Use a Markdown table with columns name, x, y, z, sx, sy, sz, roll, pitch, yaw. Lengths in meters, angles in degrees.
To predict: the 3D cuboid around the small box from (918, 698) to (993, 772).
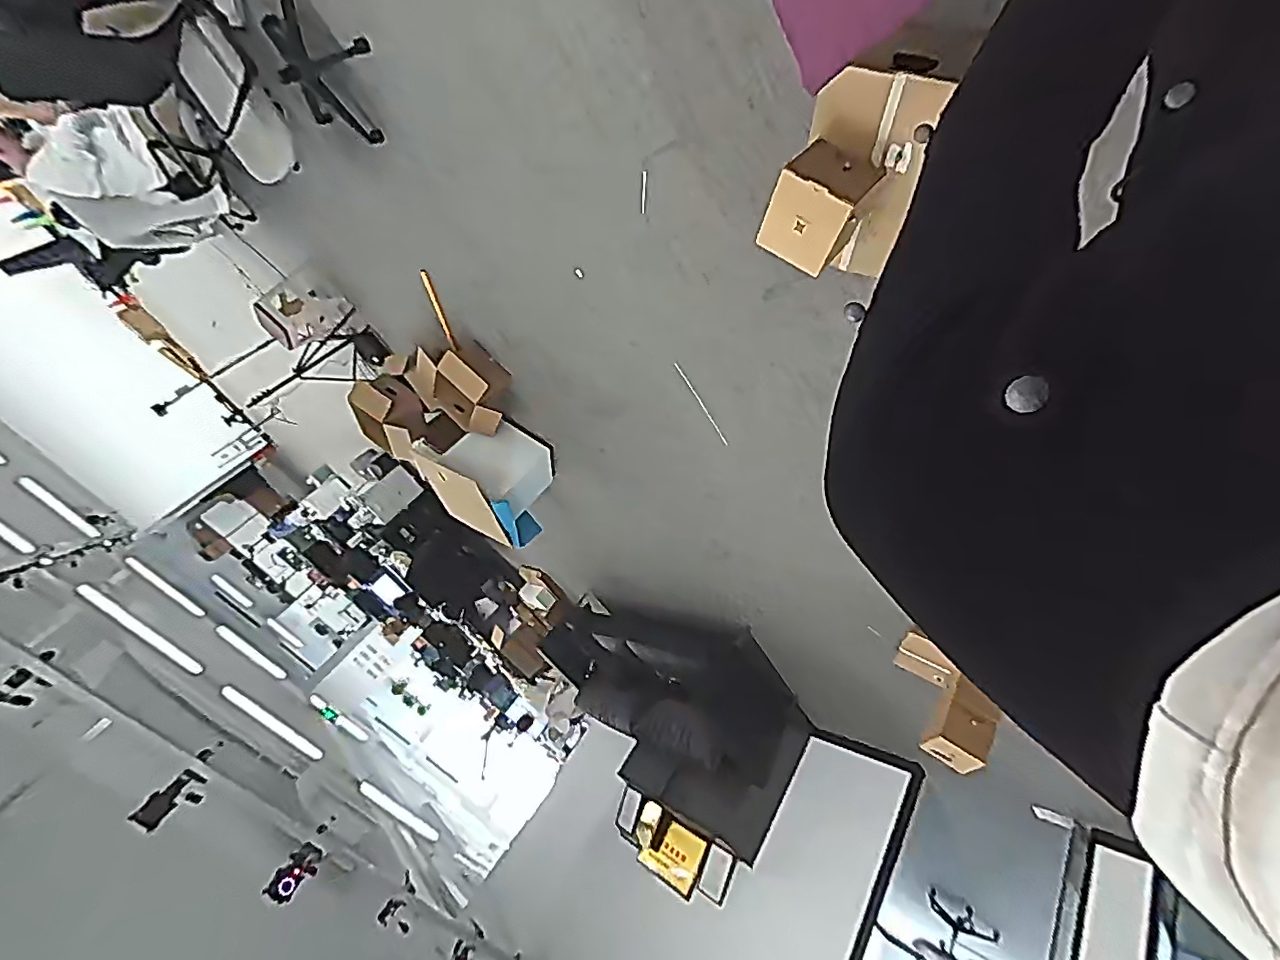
| name | x | y | z | sx | sy | sz | roll | pitch | yaw |
| --- | --- | --- | --- | --- | --- | --- | --- | --- | --- |
| small box | 1.179 | 0.951 | 2.016 | 0.168 | 0.176 | 0.179 | 30 | 147 | 19 |

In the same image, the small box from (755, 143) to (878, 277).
| name | x | y | z | sx | sy | sz | roll | pitch | yaw |
| --- | --- | --- | --- | --- | --- | --- | --- | --- | --- |
| small box | 0.385 | -0.589 | 1.179 | 0.168 | 0.176 | 0.179 | 36 | 150 | 12 |

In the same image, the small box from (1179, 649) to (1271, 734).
| name | x | y | z | sx | sy | sz | roll | pitch | yaw |
| --- | --- | --- | --- | --- | --- | --- | --- | --- | --- |
| small box | 1.846 | 0.657 | 1.704 | 0.179 | 0.176 | 0.168 | -8 | 124 | 53 |
